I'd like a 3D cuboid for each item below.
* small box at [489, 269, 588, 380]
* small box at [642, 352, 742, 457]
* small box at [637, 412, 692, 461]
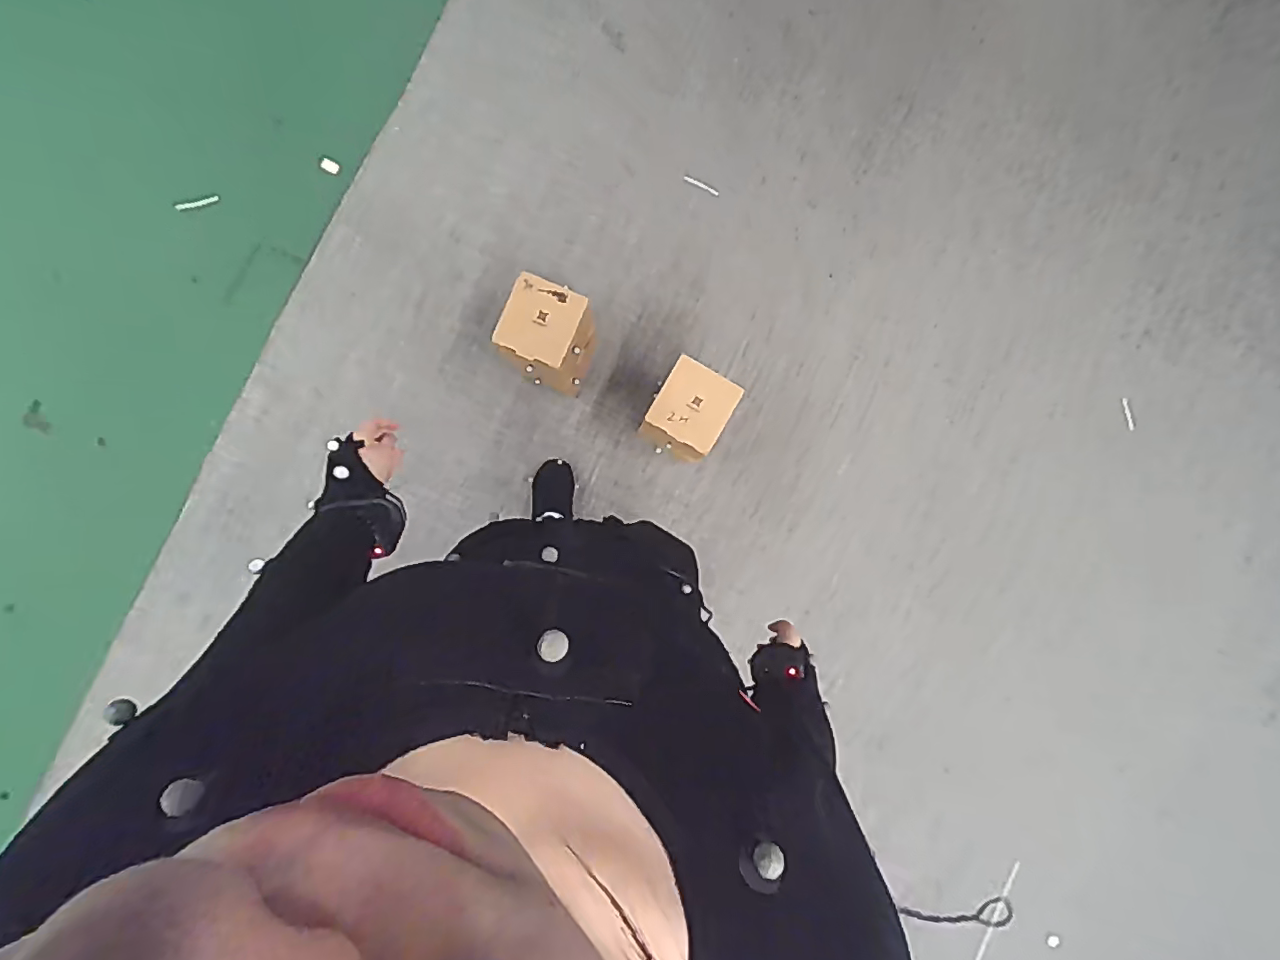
[{"bbox_3d":[-0.228,-0.352,1.267,0.168,0.176,0.179,23,88,-2],"label":"small box"},{"bbox_3d":[0.113,-0.171,1.280,0.168,0.176,0.179,30,88,-1],"label":"small box"},{"bbox_3d":[0.101,-0.165,1.444,0.168,0.176,0.179,32,88,-2],"label":"small box"}]
